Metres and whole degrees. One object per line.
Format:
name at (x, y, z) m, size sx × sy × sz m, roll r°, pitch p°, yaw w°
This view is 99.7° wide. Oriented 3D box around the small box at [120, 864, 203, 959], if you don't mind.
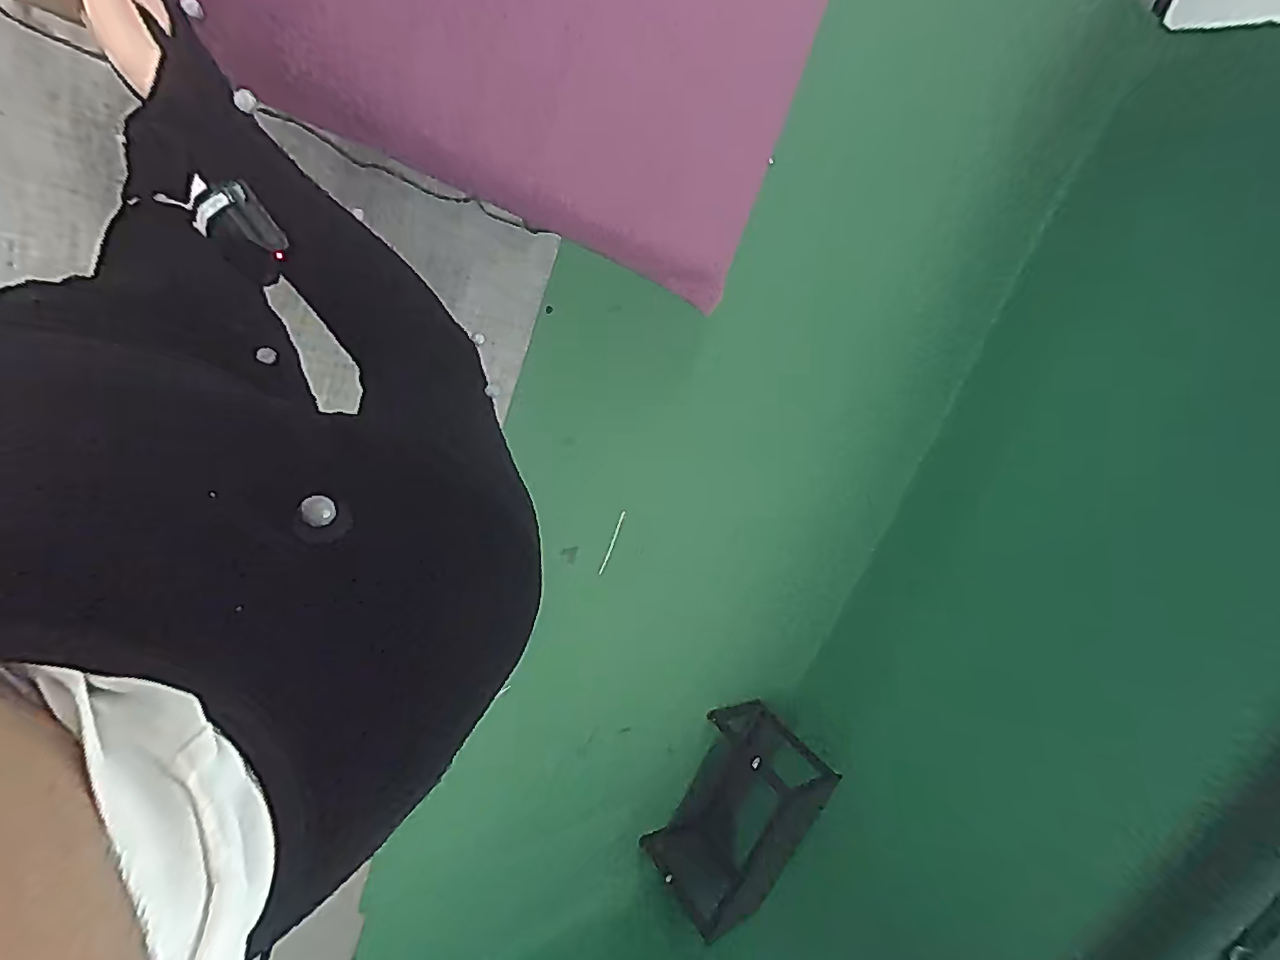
small box at (-1.349, 1.245, 1.526) m, size 0.168 × 0.176 × 0.179 m, roll 4°, pitch 114°, yaw -43°
